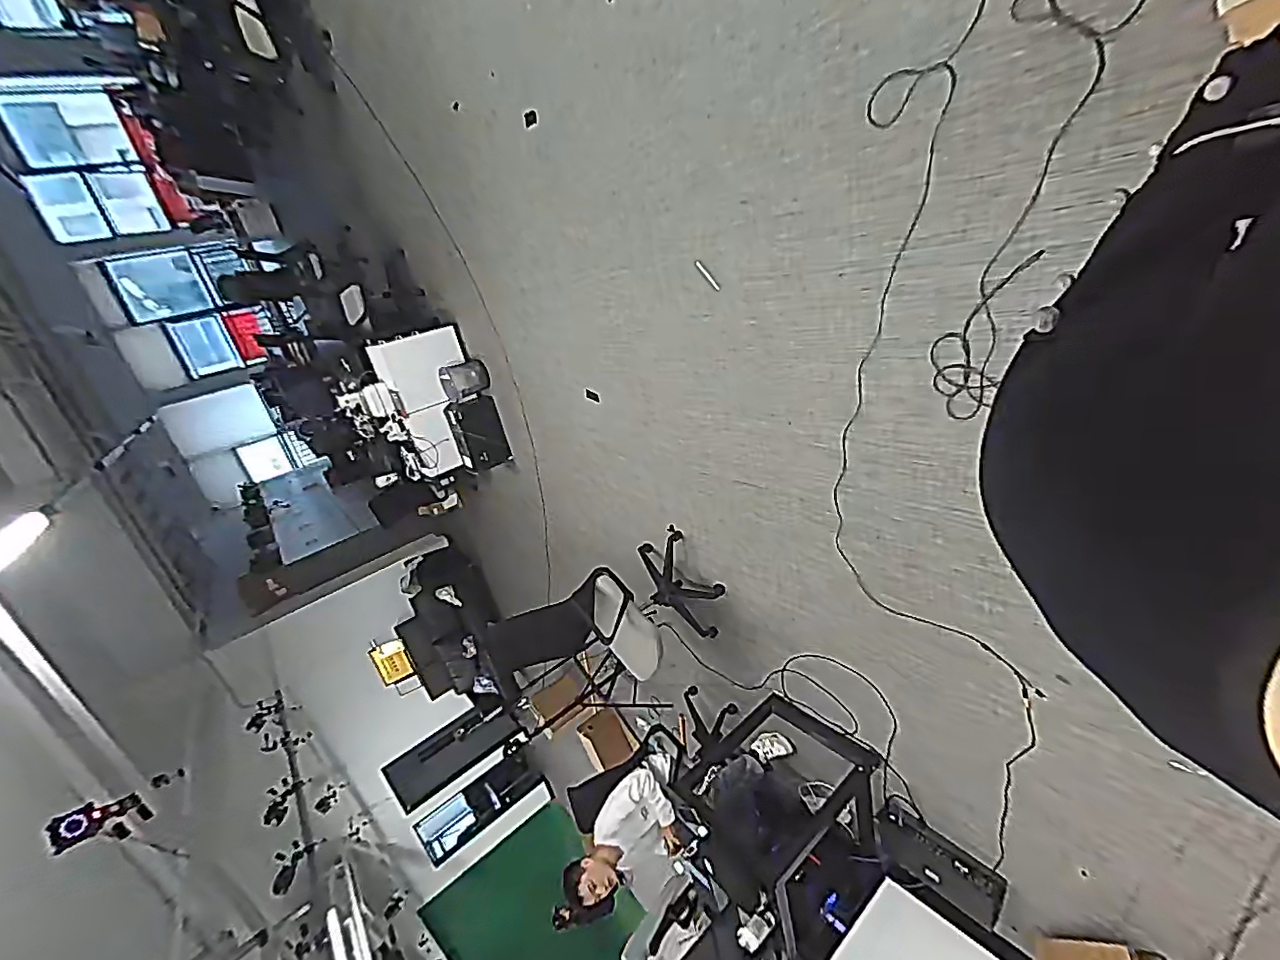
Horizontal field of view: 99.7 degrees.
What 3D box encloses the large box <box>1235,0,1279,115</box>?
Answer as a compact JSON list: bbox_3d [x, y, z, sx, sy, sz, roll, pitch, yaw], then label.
[{"bbox_3d":[1.004,-0.697,0.625,0.408,0.320,0.320,-2,111,57],"label":"large box"}]
